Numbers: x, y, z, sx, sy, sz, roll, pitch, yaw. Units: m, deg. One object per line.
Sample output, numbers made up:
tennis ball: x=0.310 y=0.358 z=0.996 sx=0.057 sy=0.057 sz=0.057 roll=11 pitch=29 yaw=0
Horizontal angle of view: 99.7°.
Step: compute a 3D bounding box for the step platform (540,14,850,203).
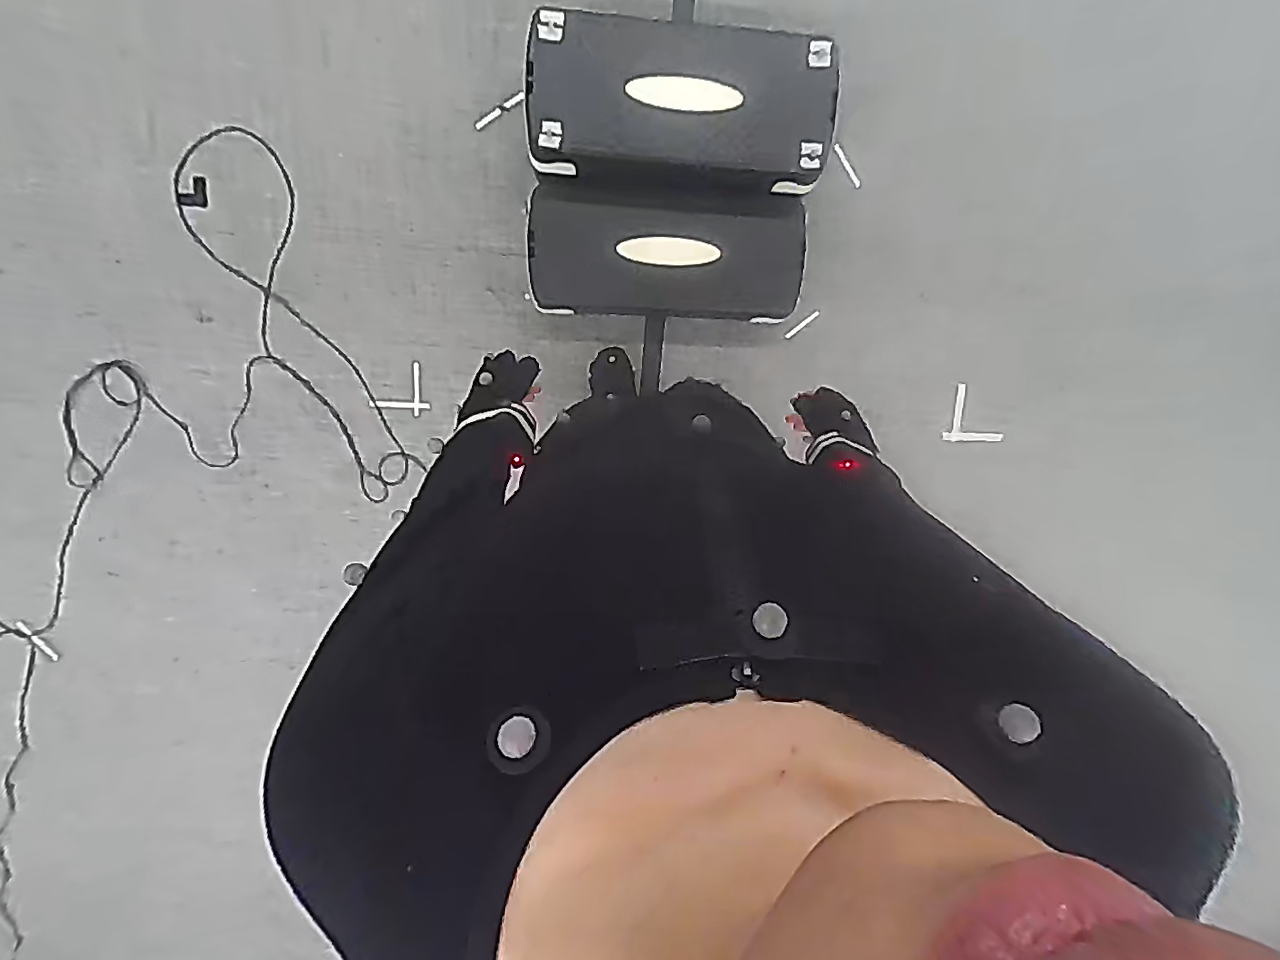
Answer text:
step platform: x=0.118 y=-0.829 z=1.231 sx=0.684 sy=0.204 sz=0.286 roll=2 pitch=101 yaw=-5
